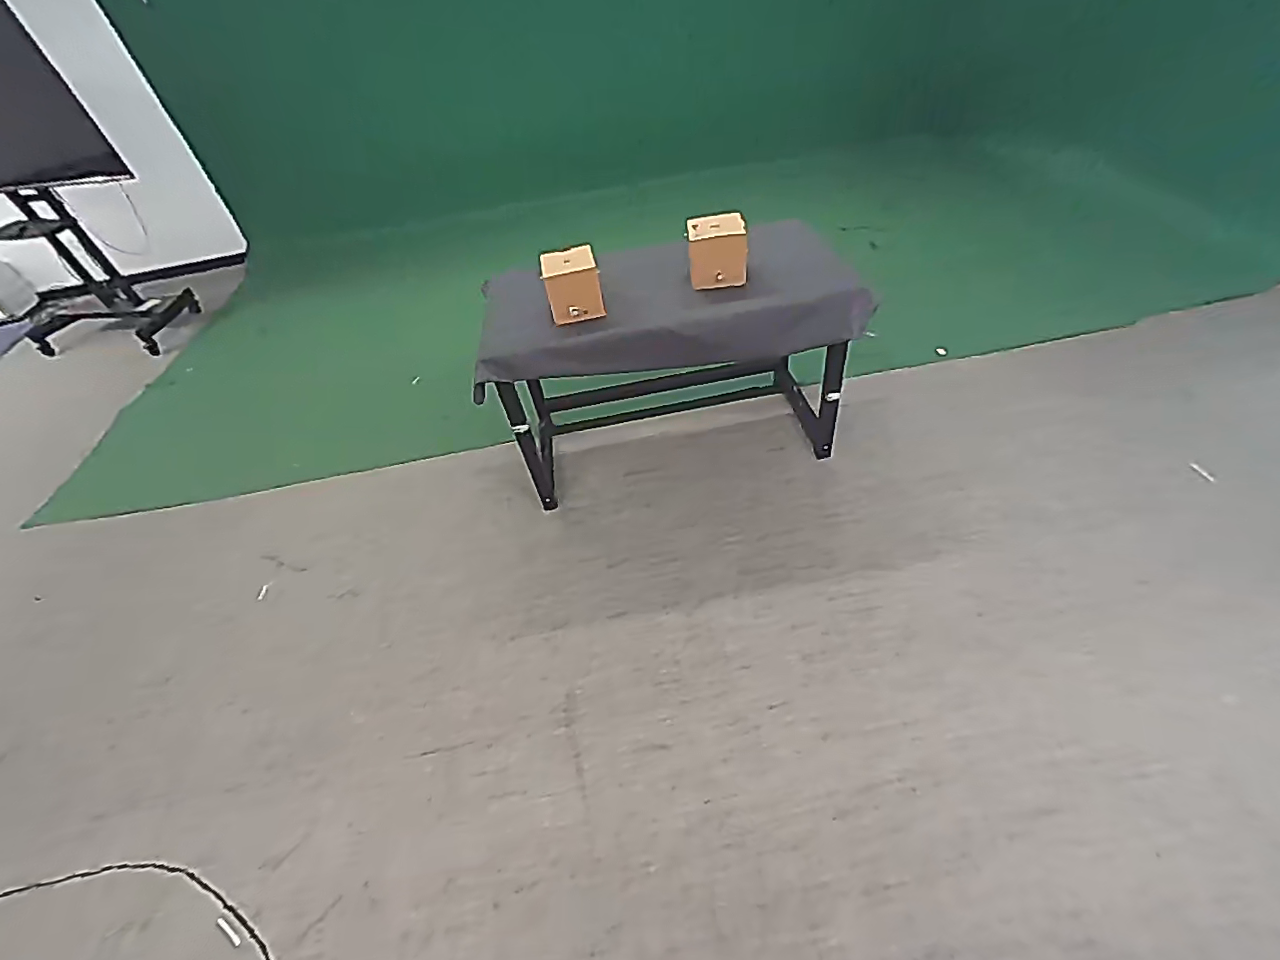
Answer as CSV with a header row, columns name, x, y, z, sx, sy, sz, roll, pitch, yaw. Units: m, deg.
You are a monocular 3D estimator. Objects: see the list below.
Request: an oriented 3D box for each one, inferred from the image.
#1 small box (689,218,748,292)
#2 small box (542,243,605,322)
name,x,y,z,sx,sy,sz,roll,pitch,yaw
small box,0.255,-0.738,1.778,0.179,0.176,0.168,-4,46,5
small box,-0.214,-0.631,1.733,0.168,0.176,0.179,-12,45,0
